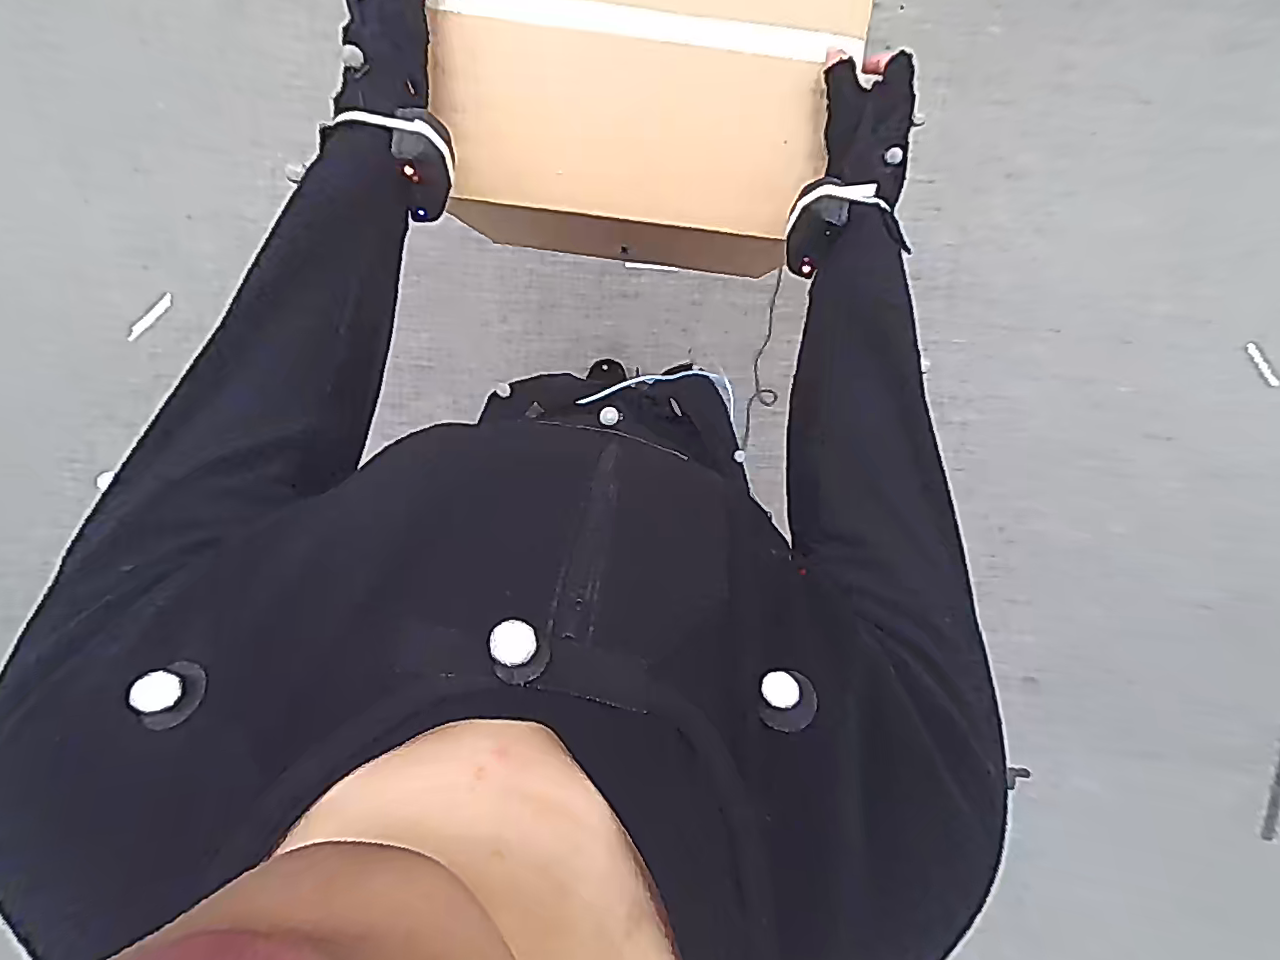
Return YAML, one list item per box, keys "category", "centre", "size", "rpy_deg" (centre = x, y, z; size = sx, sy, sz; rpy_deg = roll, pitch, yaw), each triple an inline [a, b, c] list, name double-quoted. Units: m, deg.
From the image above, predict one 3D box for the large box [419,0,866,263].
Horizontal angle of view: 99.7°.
- category: "large box"
  centre: [0.003, -0.451, 0.630]
  size: [0.408, 0.320, 0.320]
  rpy_deg: [7, 104, -2]
